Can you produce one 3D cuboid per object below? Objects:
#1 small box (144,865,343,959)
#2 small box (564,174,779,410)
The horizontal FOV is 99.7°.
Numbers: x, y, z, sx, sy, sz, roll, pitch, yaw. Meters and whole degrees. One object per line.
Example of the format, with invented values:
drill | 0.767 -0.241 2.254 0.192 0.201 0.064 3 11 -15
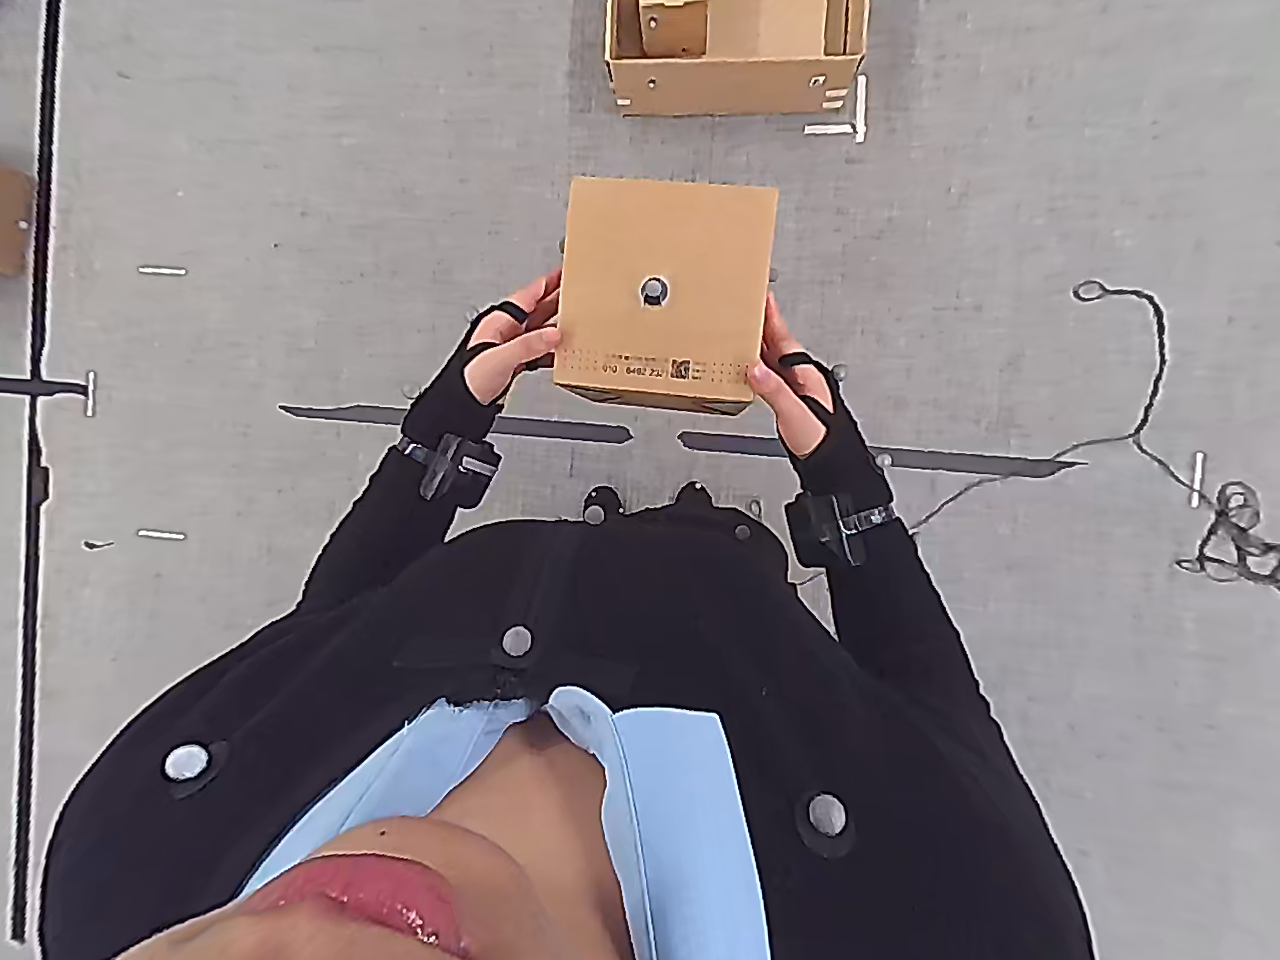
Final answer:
small box | -0.541 0.687 0.744 0.168 0.176 0.179 8 93 5
small box | 0.029 -0.158 0.509 0.168 0.179 0.176 7 94 6
